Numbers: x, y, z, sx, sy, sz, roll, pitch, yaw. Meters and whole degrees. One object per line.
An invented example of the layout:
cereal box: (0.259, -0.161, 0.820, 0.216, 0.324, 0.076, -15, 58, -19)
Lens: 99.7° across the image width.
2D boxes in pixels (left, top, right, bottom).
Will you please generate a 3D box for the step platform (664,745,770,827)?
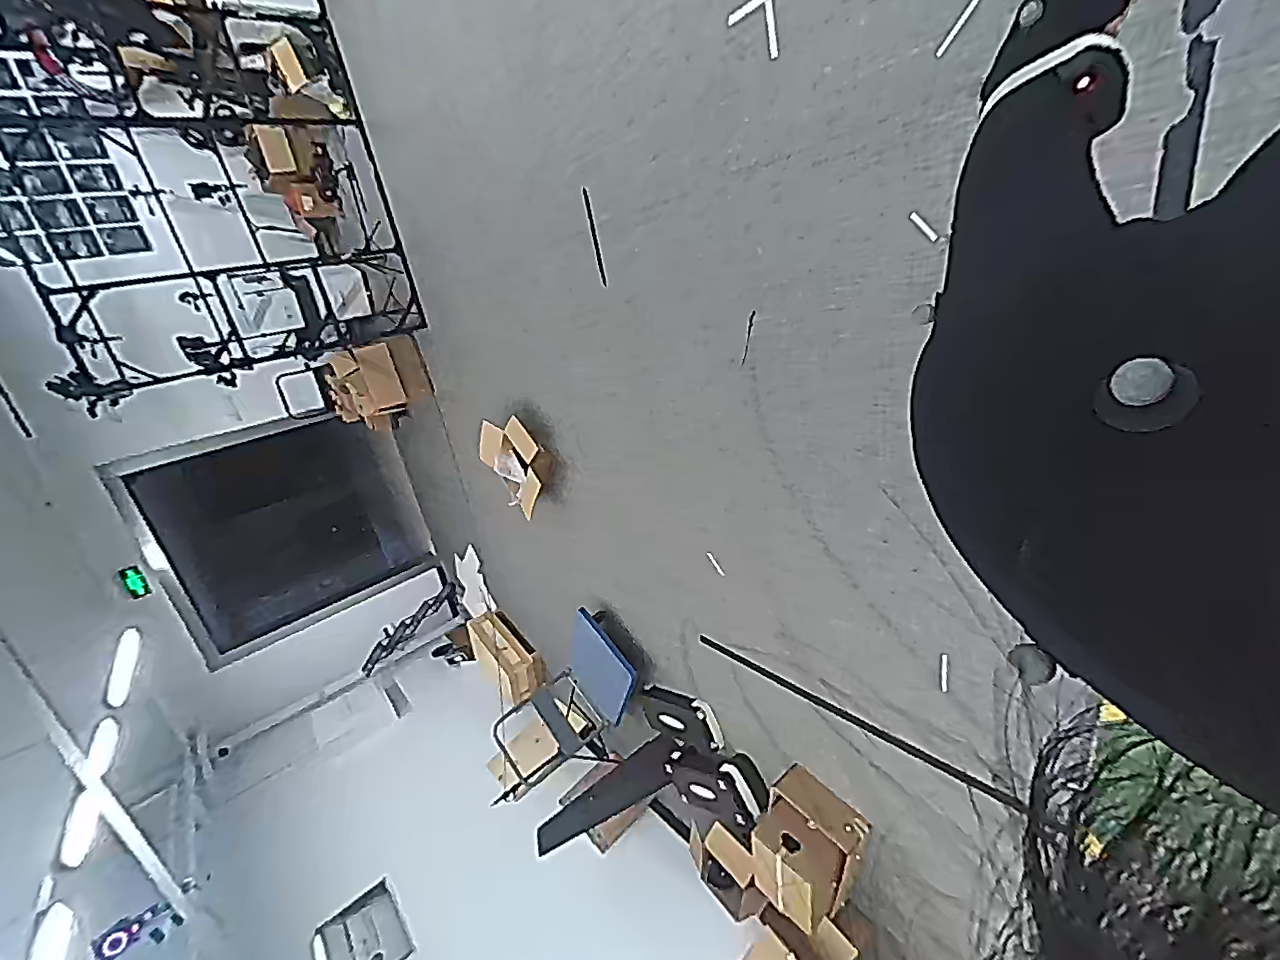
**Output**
step platform: (0.413, 1.736, 3.093, 0.684, 0.204, 0.286, -33, 83, 56)
